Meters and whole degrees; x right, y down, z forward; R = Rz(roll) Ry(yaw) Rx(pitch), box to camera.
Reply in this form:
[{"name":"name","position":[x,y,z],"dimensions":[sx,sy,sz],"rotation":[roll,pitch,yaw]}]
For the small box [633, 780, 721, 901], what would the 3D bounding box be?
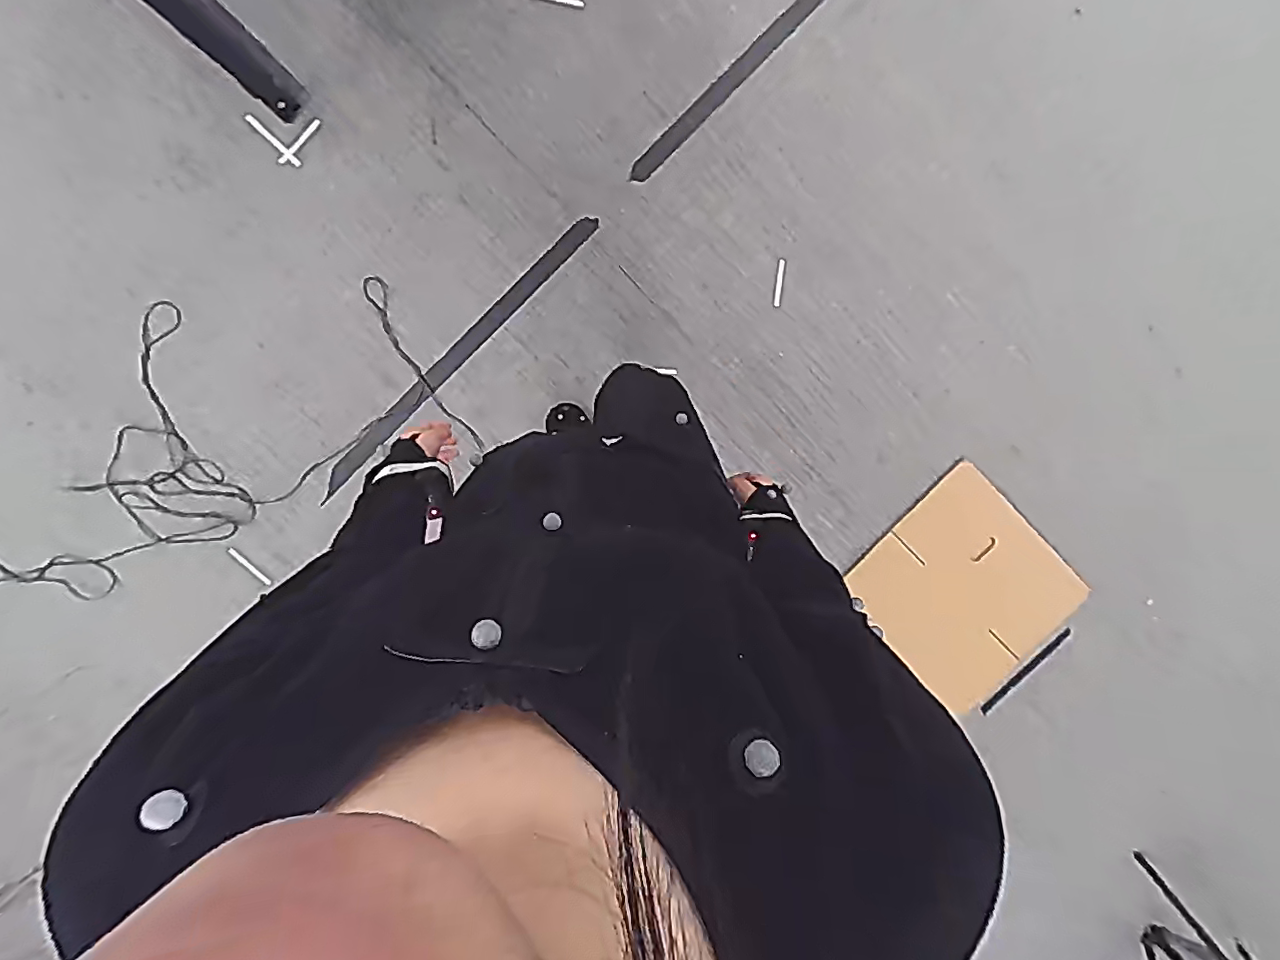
[{"name":"small box","position":[0.078,0.815,1.235],"dimensions":[0.179,0.176,0.168],"rotation":[2,97,-3]}]
